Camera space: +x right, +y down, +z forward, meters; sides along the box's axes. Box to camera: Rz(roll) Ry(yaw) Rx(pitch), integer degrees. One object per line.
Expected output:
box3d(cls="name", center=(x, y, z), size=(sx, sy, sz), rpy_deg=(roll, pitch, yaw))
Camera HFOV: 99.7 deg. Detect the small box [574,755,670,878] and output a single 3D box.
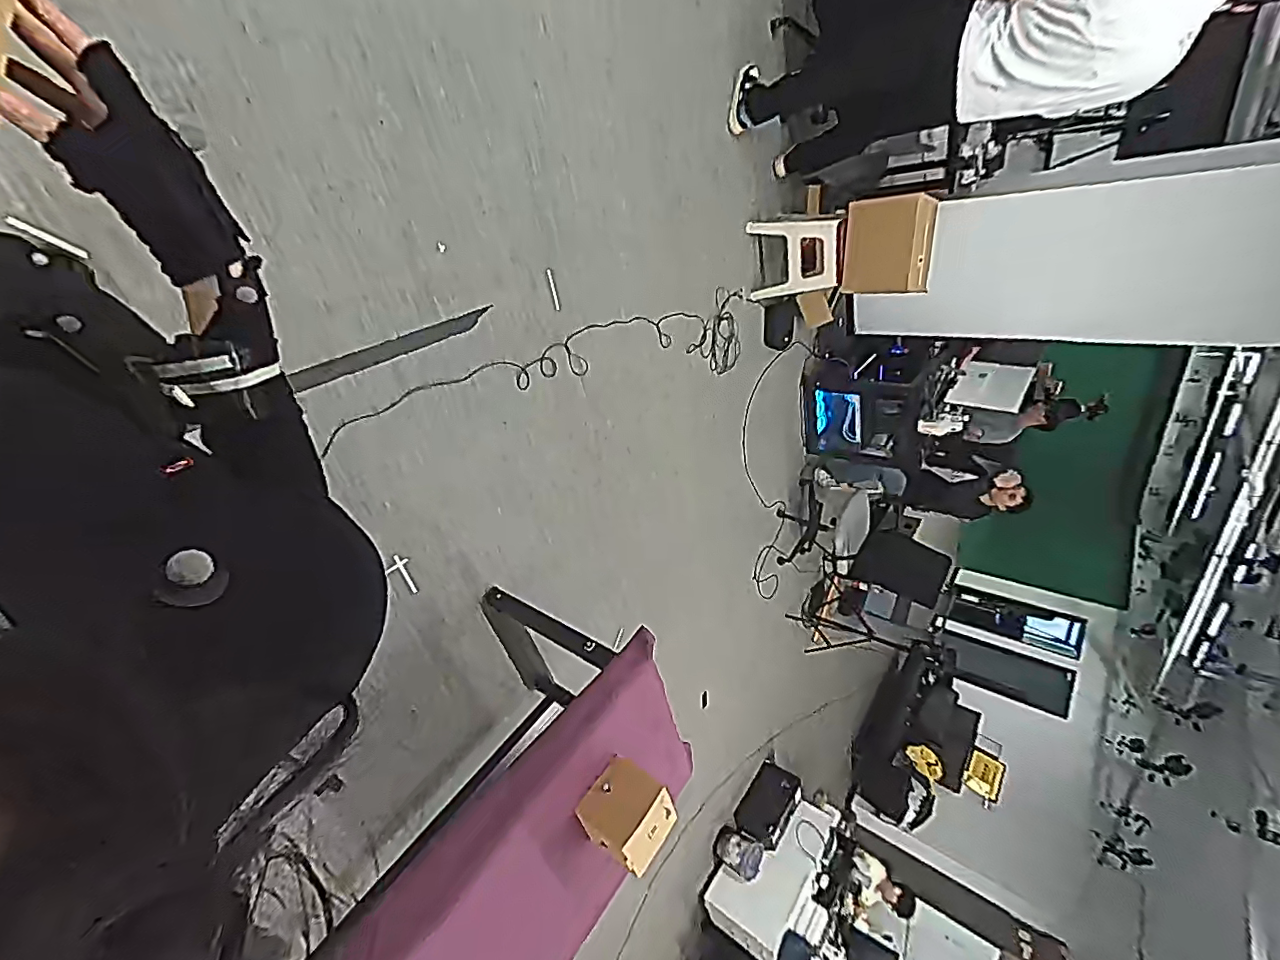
box3d(cls="small box", center=(-0.052, 0.863, 1.399), size=(0.179, 0.176, 0.168), rpy_deg=(-41, 131, -35))
